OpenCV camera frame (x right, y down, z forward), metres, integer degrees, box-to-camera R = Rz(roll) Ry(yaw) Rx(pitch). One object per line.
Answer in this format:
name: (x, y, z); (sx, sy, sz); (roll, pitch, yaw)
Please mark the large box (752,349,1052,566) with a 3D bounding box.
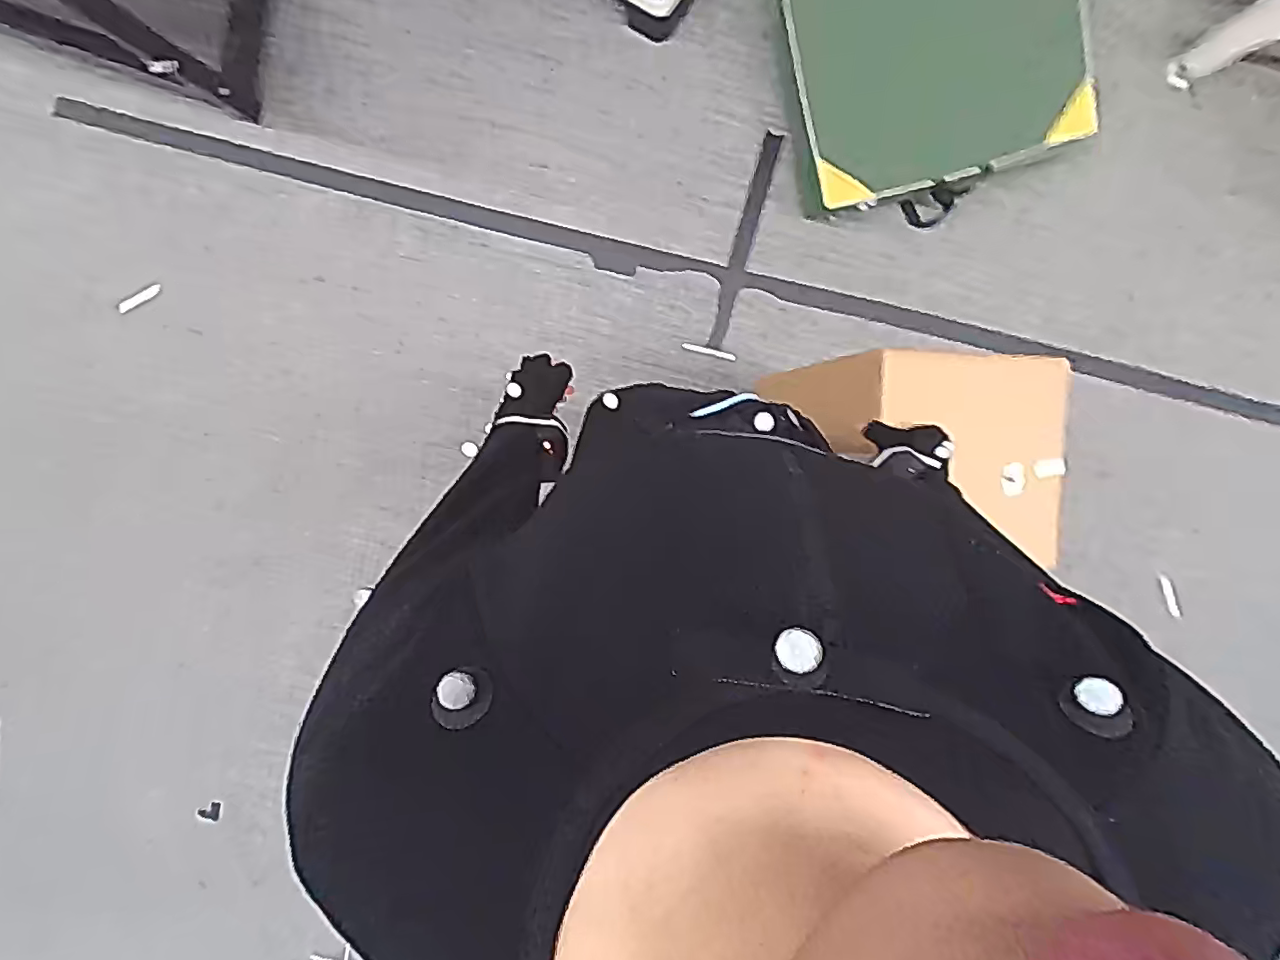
large box: (0.429, -0.040, 0.971); (0.320, 0.408, 0.320); (2, 94, -12)
